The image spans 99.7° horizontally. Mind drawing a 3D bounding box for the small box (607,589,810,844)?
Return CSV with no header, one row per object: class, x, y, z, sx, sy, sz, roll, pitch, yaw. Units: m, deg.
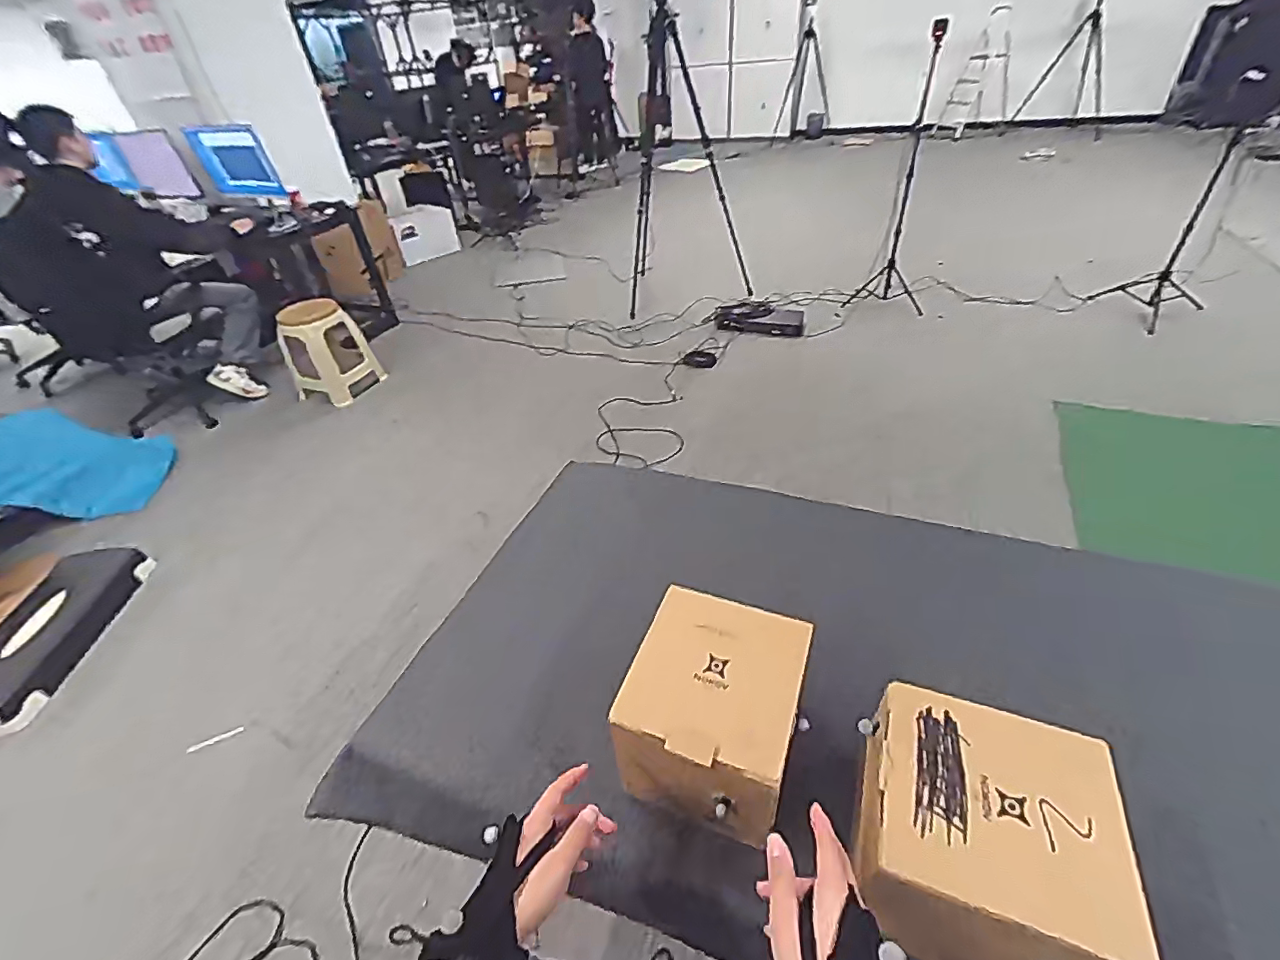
small box,0.081,0.256,0.594,0.168,0.176,0.179,12,41,19
